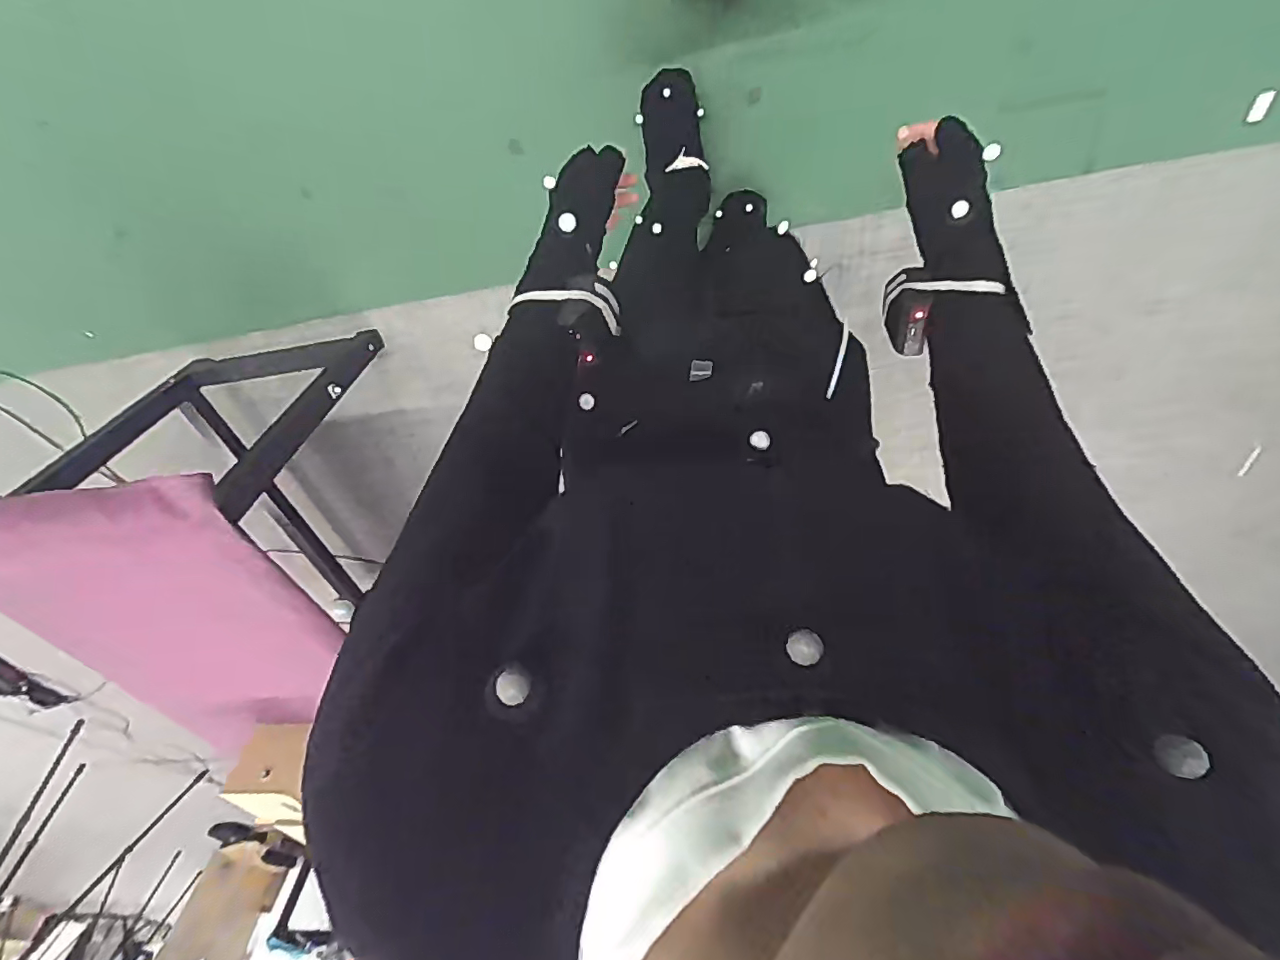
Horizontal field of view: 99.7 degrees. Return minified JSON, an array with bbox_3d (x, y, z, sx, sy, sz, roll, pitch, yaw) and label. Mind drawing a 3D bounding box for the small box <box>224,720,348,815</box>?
[{"bbox_3d":[-0.867,0.716,1.352,0.179,0.176,0.168,-4,130,9],"label":"small box"}]
